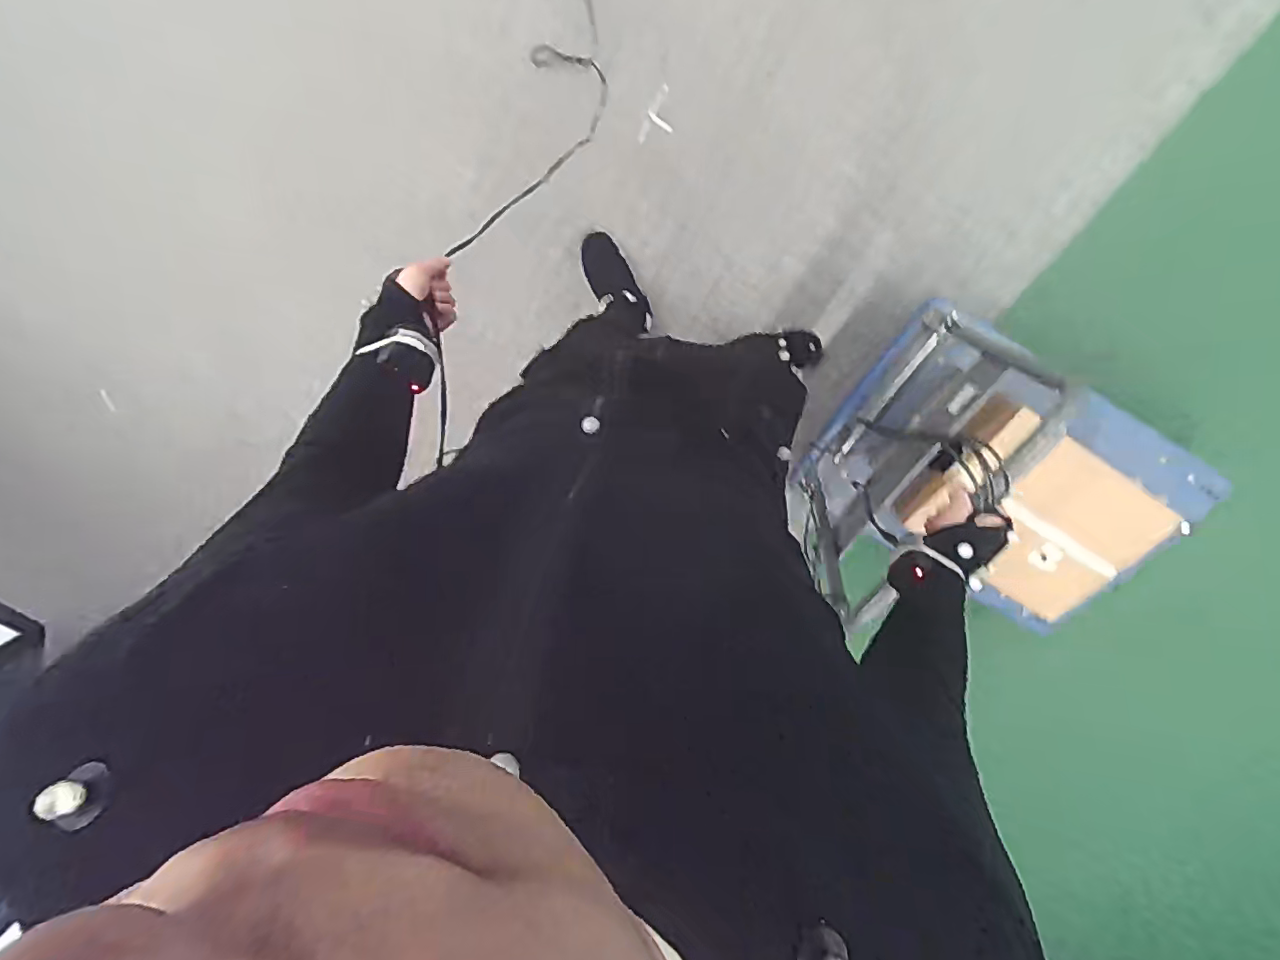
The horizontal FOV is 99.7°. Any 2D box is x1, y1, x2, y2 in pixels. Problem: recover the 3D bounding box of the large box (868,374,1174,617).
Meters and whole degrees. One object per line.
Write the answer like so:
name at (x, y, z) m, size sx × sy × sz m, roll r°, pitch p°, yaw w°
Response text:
large box at (0.803, 0.022, 1.212) m, size 0.408 × 0.320 × 0.320 m, roll 32°, pitch 116°, yaw -7°
